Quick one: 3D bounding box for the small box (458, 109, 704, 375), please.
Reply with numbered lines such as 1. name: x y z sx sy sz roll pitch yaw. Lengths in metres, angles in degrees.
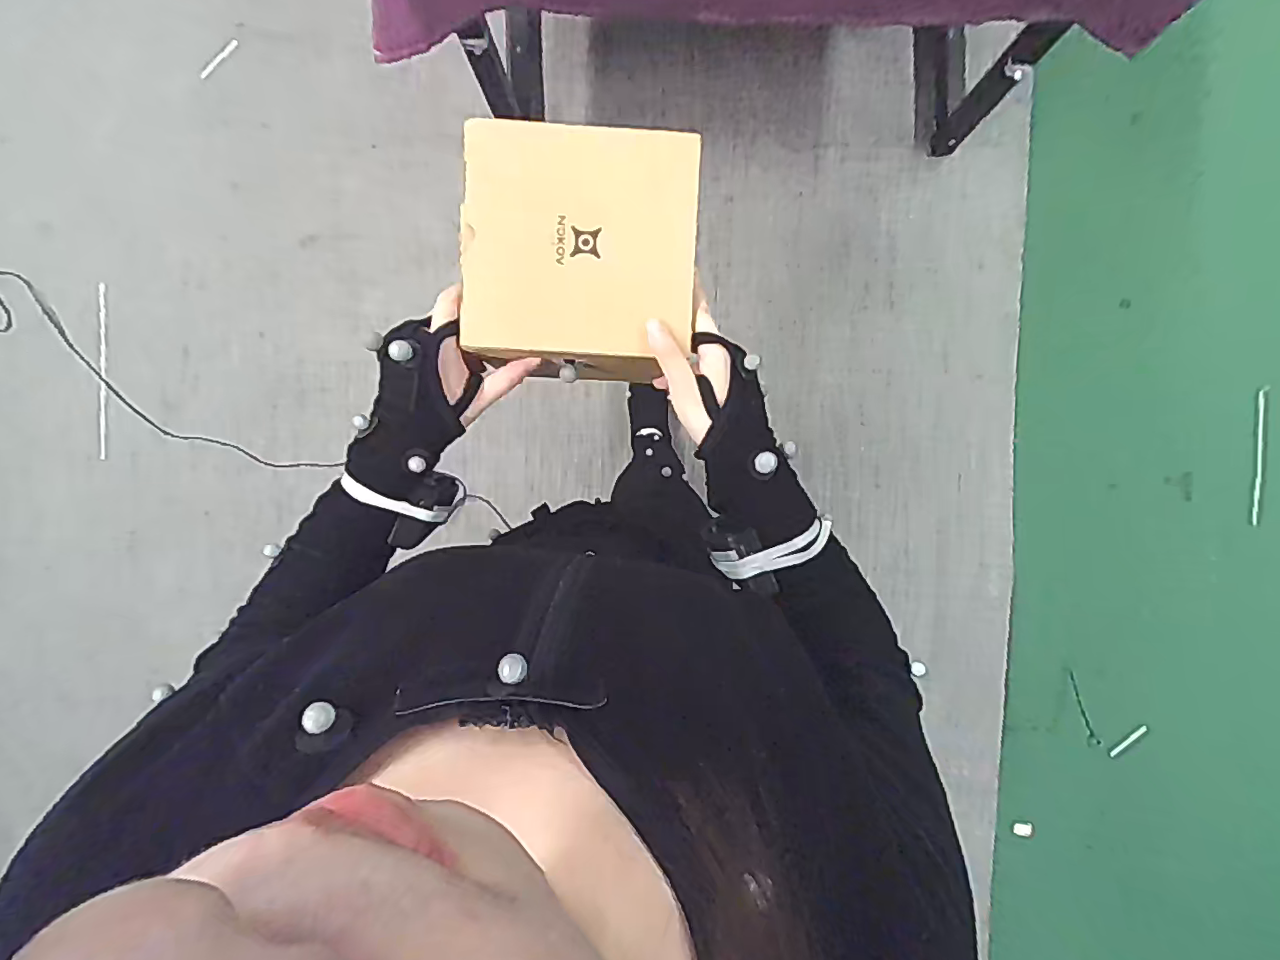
1. small box: -0.047 -0.187 0.477 0.179 0.176 0.168 3 94 -1
